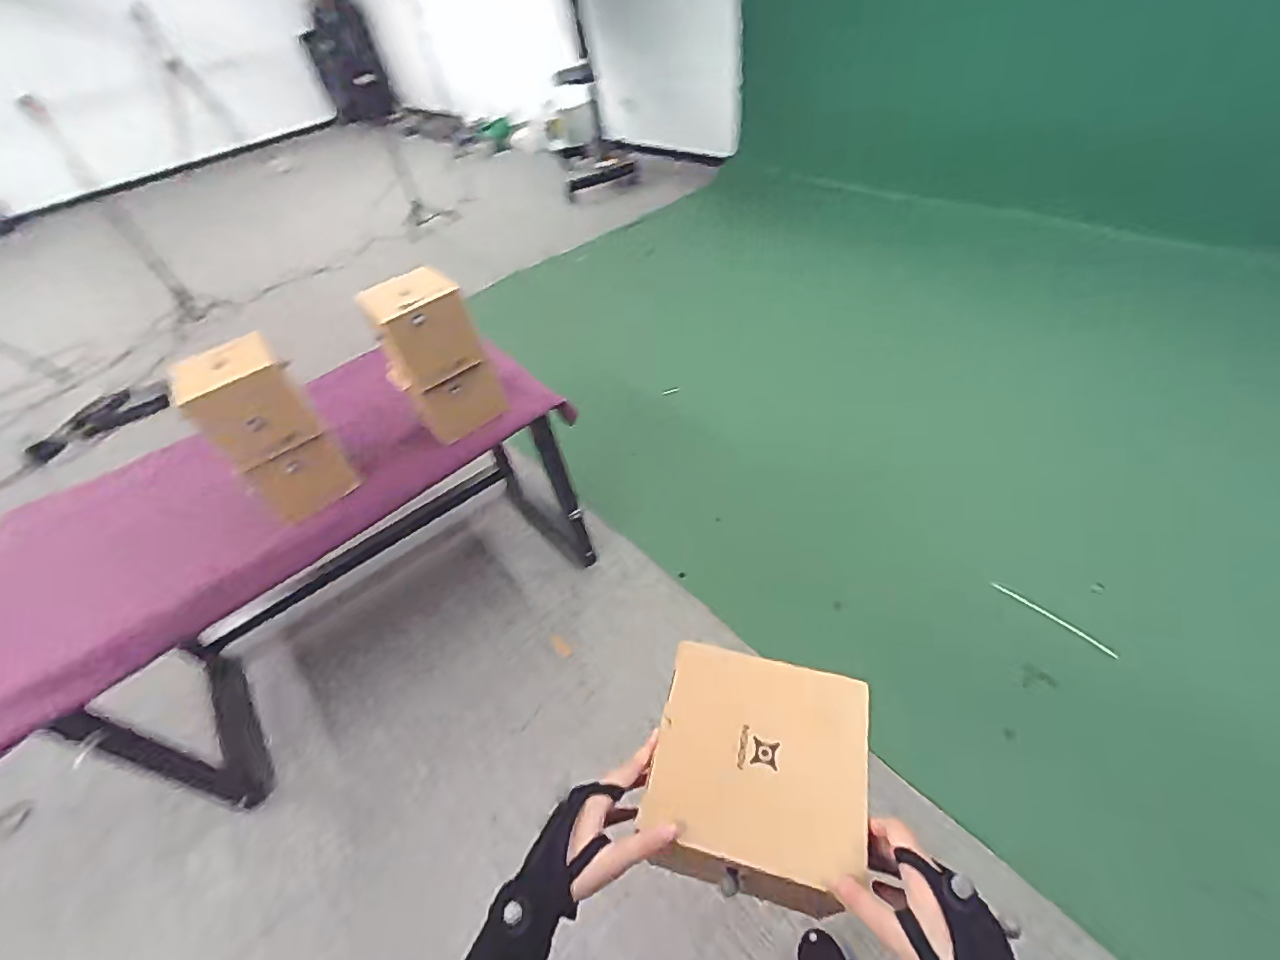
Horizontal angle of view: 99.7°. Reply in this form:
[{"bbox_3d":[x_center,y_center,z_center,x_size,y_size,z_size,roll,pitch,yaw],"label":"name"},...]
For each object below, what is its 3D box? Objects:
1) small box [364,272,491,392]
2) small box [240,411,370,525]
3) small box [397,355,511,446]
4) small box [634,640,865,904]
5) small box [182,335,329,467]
[{"bbox_3d":[-0.449,-0.315,1.156,0.168,0.176,0.179,-35,49,-20],"label":"small box"},{"bbox_3d":[-0.726,-0.034,1.171,0.179,0.176,0.168,-34,48,-21],"label":"small box"},{"bbox_3d":[-0.434,-0.211,1.283,0.179,0.176,0.168,-36,50,-23],"label":"small box"},{"bbox_3d":[0.105,0.281,0.518,0.179,0.176,0.168,8,49,13],"label":"small box"},{"bbox_3d":[-0.743,-0.149,1.056,0.168,0.176,0.179,-32,48,-19],"label":"small box"}]
